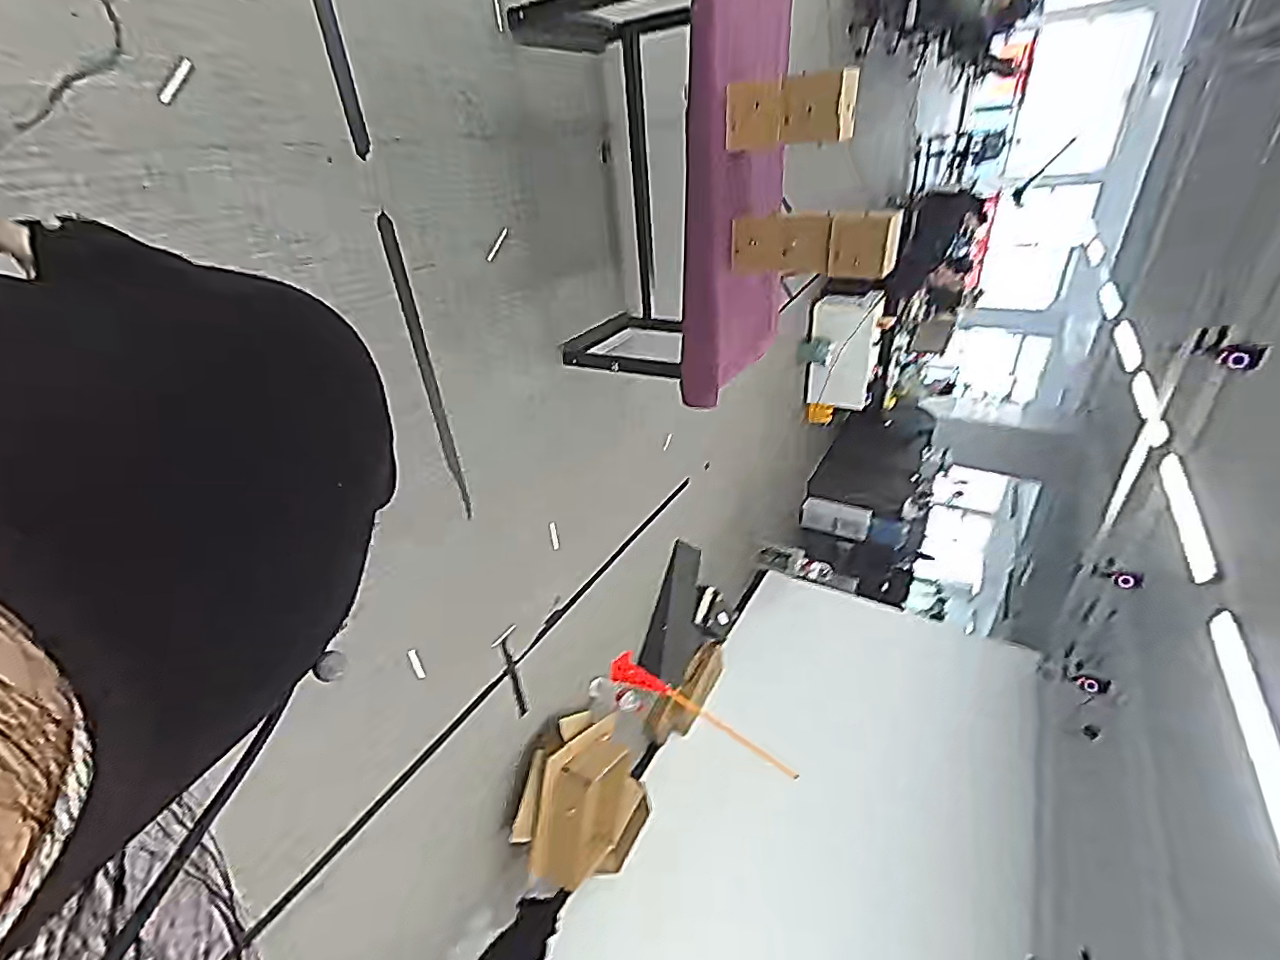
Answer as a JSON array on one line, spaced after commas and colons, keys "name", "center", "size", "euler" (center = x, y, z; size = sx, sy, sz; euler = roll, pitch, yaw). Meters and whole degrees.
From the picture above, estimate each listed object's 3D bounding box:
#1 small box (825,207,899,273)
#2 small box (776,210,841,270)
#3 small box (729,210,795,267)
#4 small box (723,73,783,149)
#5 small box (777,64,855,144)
[{"name": "small box", "center": [0.678, -0.736, 1.660], "size": [0.179, 0.176, 0.168], "euler": [-43, 138, -45]}, {"name": "small box", "center": [0.552, -0.781, 1.753], "size": [0.179, 0.176, 0.168], "euler": [-39, 134, -47]}, {"name": "small box", "center": [0.411, -0.816, 1.829], "size": [0.179, 0.176, 0.168], "euler": [-40, 135, -48]}, {"name": "small box", "center": [0.355, -1.095, 1.616], "size": [0.179, 0.176, 0.168], "euler": [-43, 137, -47]}, {"name": "small box", "center": [0.498, -1.067, 1.541], "size": [0.179, 0.176, 0.168], "euler": [-44, 138, -44]}]
